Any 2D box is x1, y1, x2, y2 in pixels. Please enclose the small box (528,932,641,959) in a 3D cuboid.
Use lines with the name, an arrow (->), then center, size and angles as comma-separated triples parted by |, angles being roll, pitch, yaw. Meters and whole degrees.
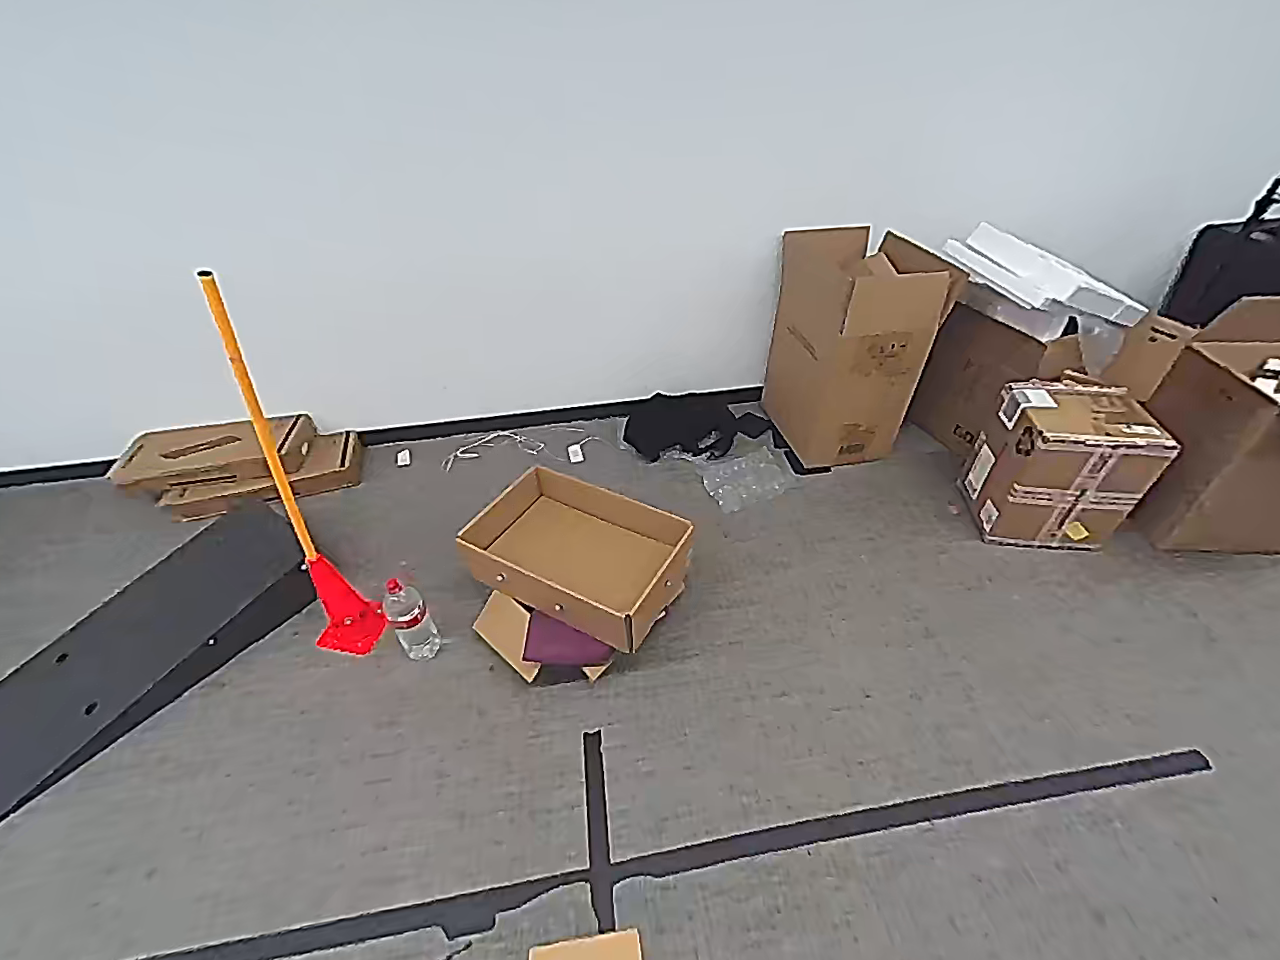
small box -> -0.070, 0.799, 0.788 | 0.168, 0.176, 0.179 | -6, 40, -6
